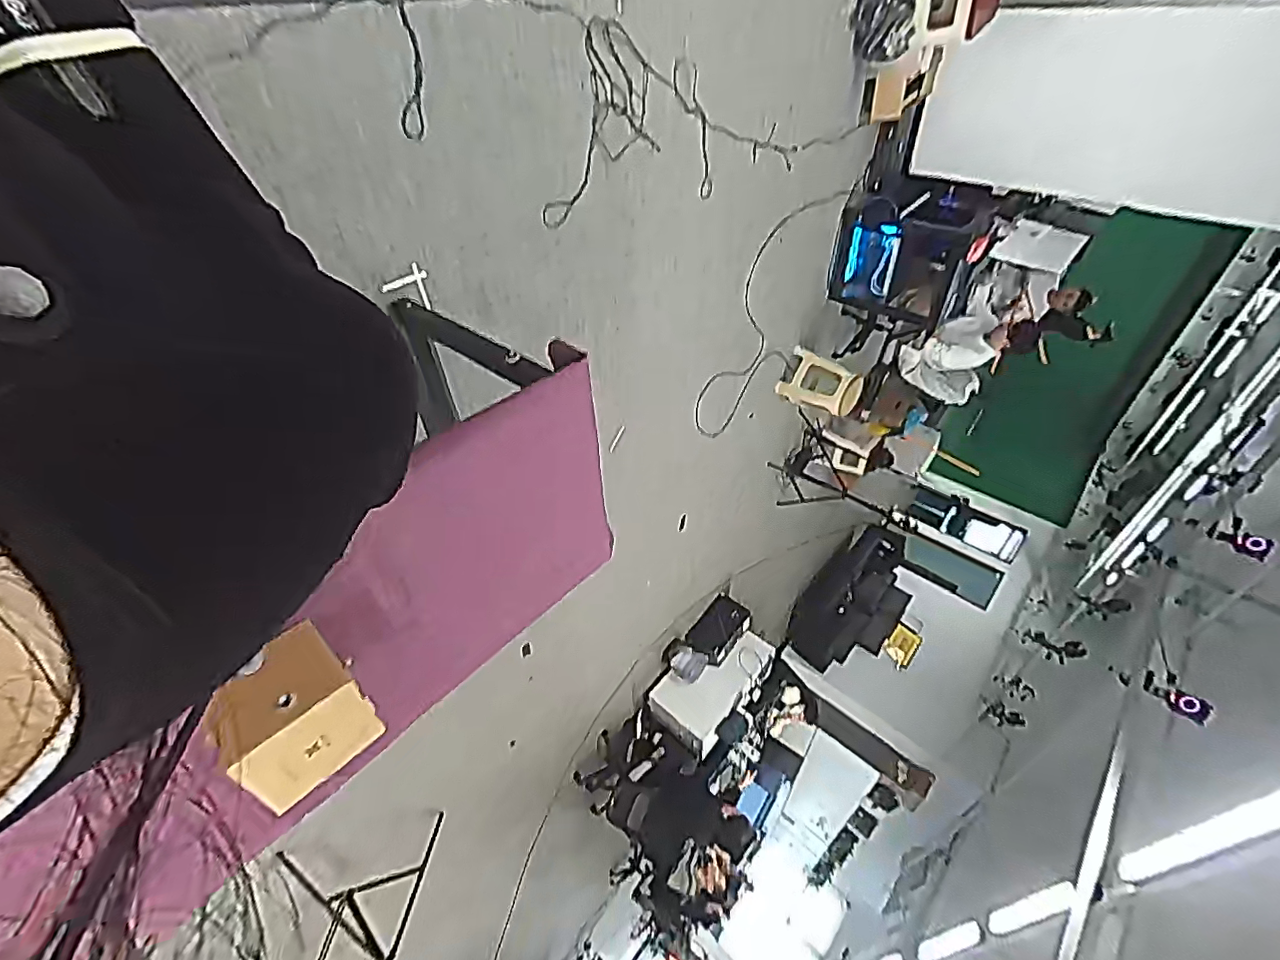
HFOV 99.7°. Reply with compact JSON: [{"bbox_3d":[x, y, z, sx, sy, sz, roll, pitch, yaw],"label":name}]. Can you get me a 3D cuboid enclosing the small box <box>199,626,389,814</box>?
[{"bbox_3d":[-0.540,0.368,0.854,0.179,0.176,0.168,-36,140,-33],"label":"small box"}]
